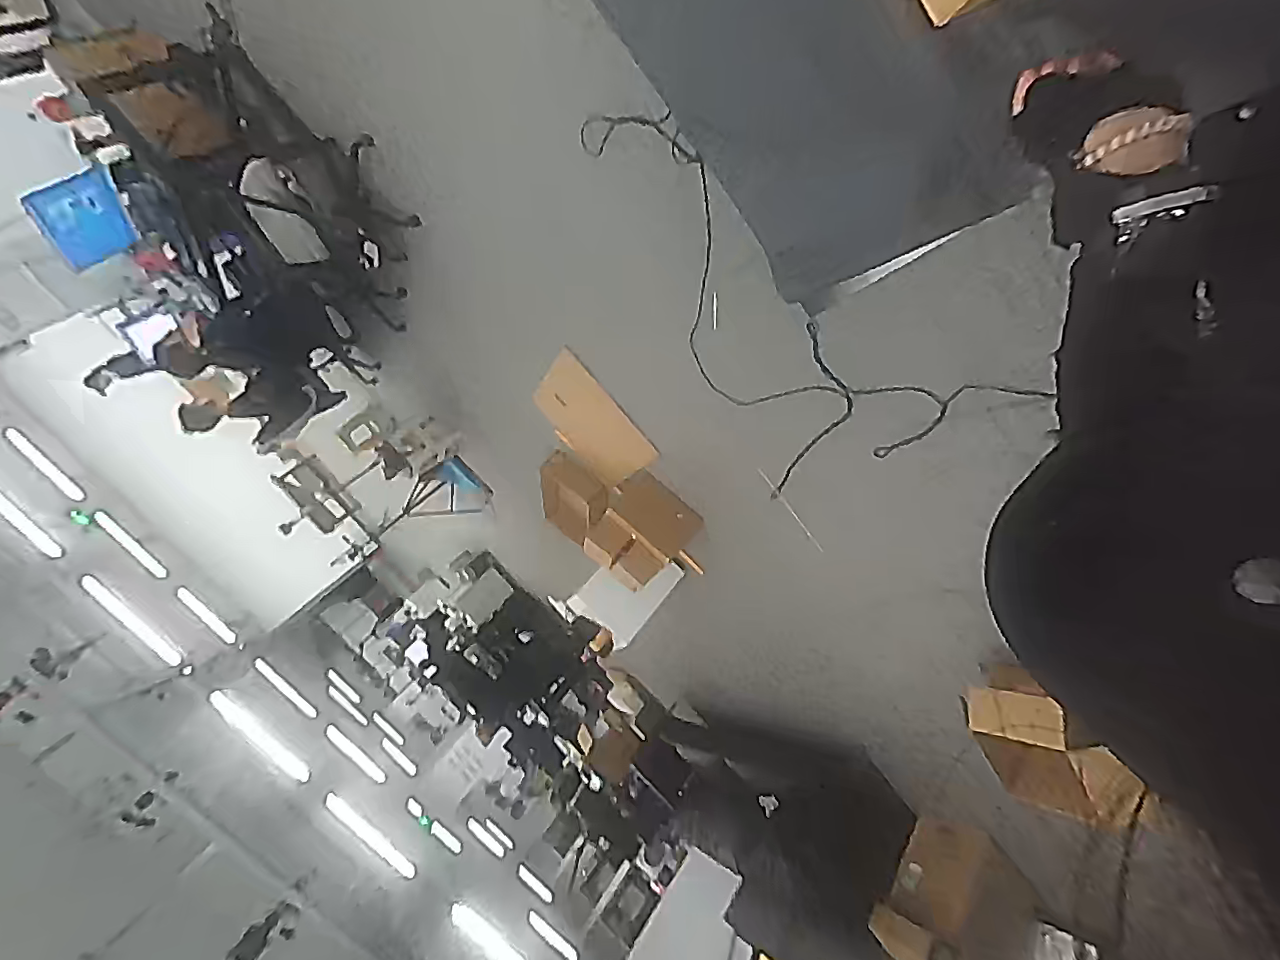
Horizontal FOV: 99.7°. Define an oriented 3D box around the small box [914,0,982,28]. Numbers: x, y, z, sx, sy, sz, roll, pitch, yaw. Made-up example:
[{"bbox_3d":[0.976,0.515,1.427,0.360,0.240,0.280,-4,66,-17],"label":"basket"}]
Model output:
[{"bbox_3d":[0.269,-0.480,0.382,0.179,0.176,0.168,51,148,-13],"label":"small box"}]
